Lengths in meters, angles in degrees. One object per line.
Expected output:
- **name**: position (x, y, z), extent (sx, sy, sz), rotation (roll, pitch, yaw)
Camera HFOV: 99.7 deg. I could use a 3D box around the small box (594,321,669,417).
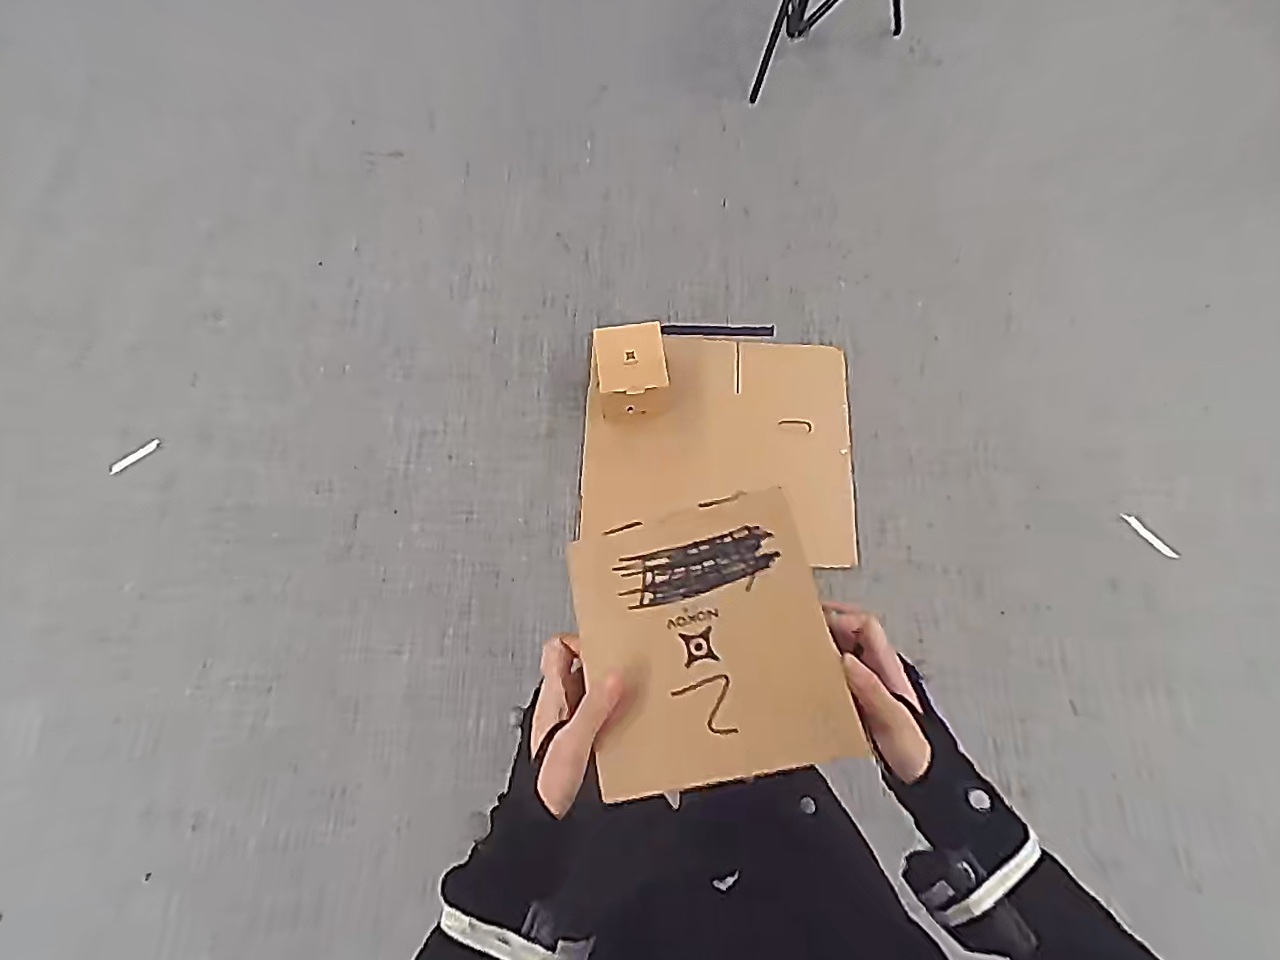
- **small box**: position (-0.022, -0.276, 1.365), extent (0.168, 0.176, 0.179), rotation (-7, 76, -2)
